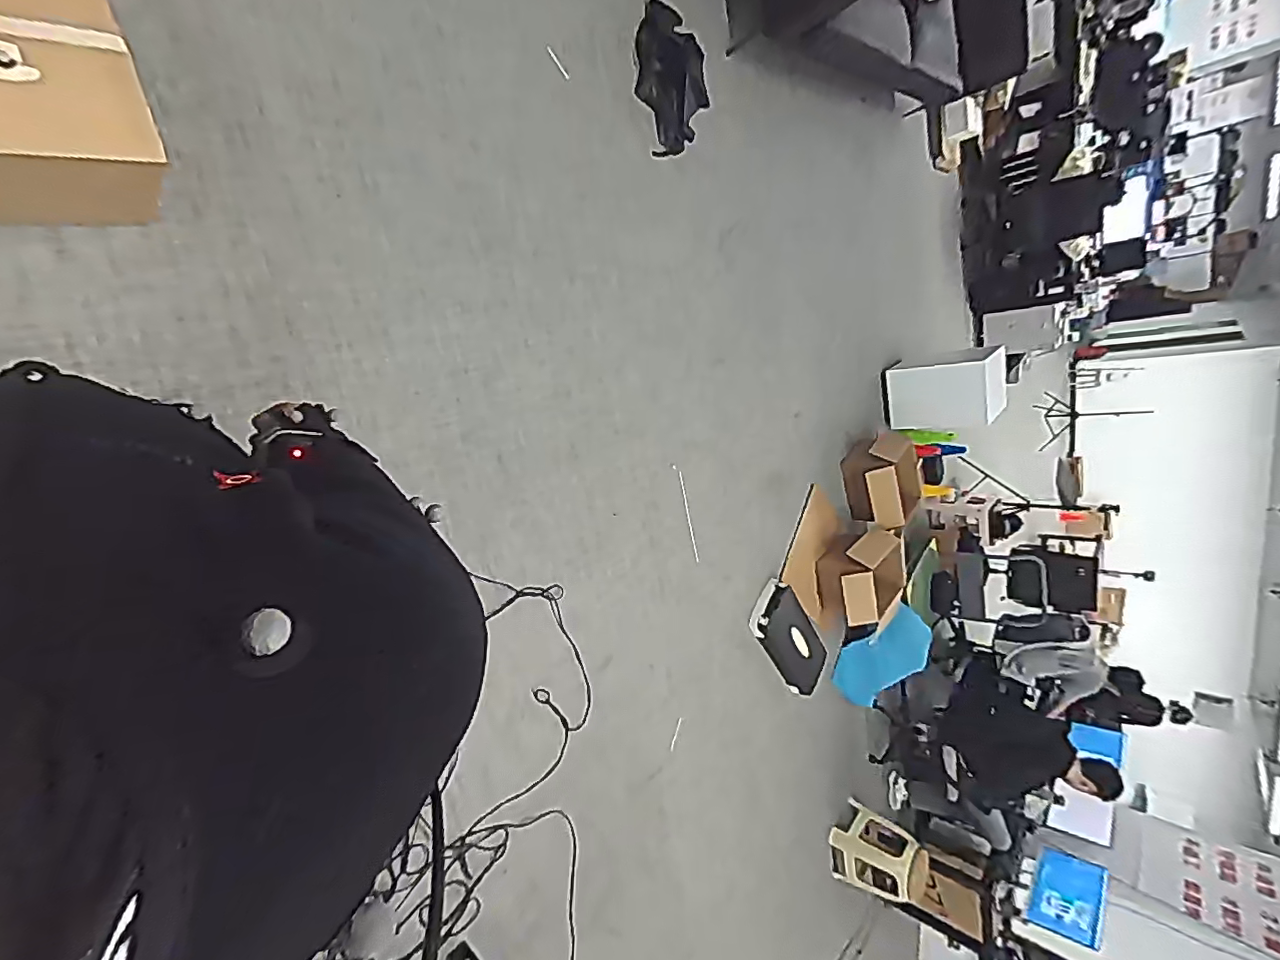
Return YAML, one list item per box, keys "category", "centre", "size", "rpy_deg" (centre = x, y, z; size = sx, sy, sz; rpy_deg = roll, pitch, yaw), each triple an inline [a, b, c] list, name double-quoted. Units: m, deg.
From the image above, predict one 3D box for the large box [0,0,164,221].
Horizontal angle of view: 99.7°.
- category: "large box"
  centre: [-0.989, -0.564, 0.747]
  size: [0.408, 0.320, 0.320]
  rpy_deg: [-26, 111, -43]
